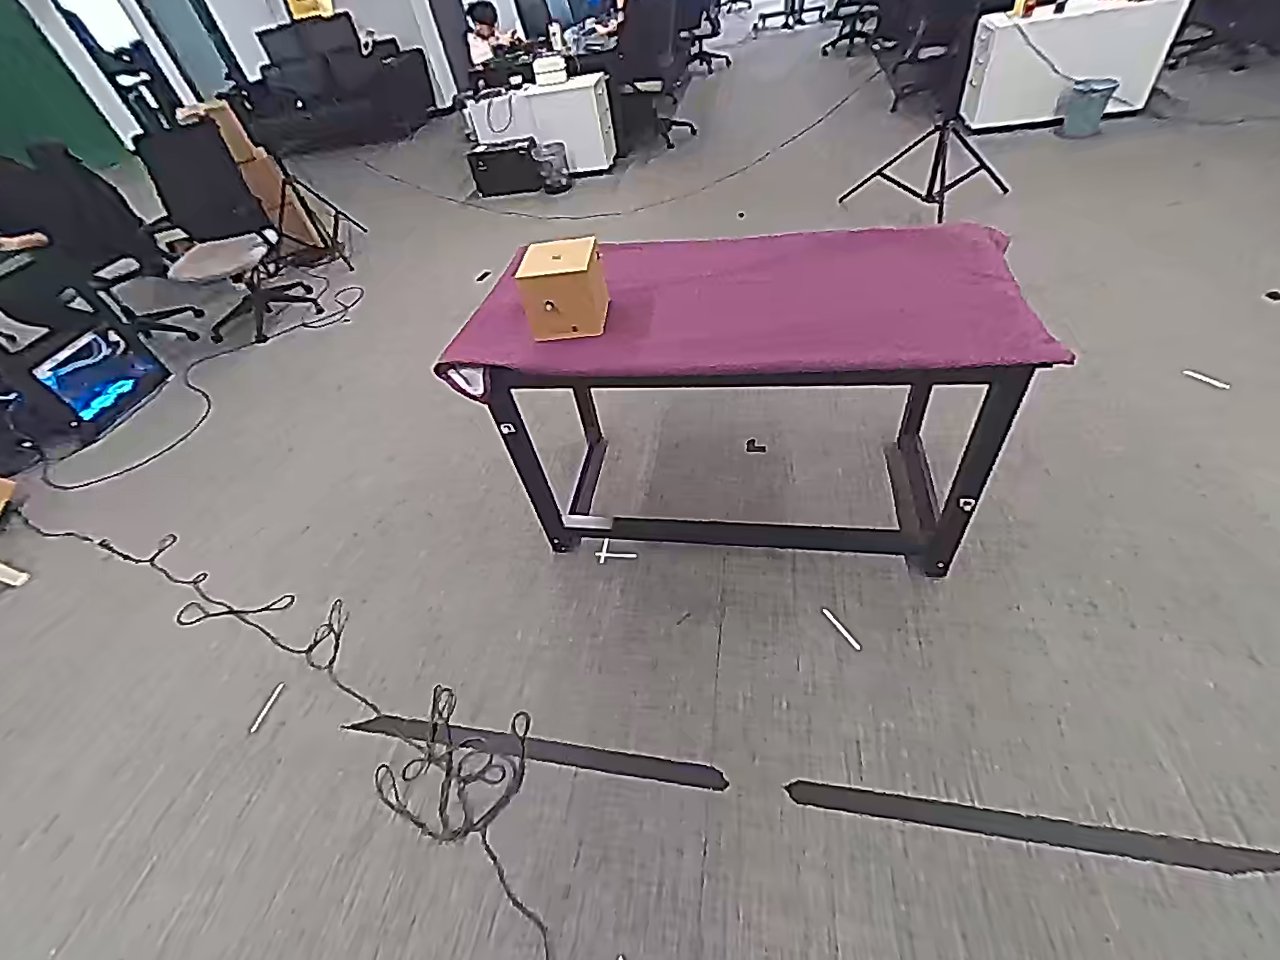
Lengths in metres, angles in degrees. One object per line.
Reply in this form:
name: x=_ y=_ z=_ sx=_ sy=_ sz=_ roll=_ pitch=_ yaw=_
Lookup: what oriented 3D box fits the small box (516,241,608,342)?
small box: x=-0.177 y=-0.445 z=1.297 sx=0.168 sy=0.176 sz=0.179 roll=-4 pitch=45 yaw=8
